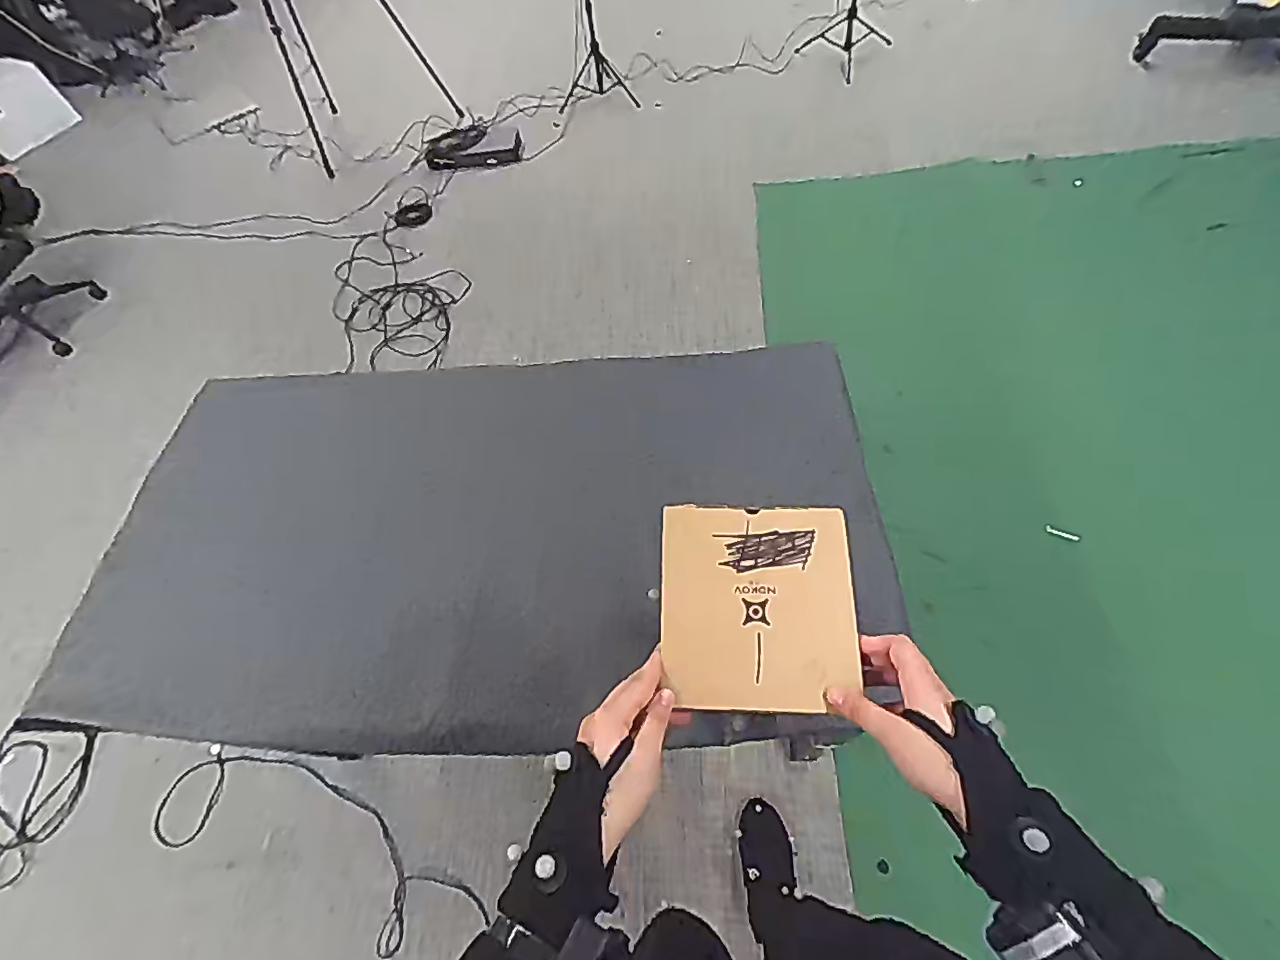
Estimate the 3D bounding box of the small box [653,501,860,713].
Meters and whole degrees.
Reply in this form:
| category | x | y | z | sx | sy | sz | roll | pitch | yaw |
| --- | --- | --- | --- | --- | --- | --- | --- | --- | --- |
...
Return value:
| category | x | y | z | sx | sy | sz | roll | pitch | yaw |
| --- | --- | --- | --- | --- | --- | --- | --- | --- | --- |
| small box | 0.100 | 0.132 | 0.534 | 0.168 | 0.176 | 0.179 | 0 | 67 | 5 |
